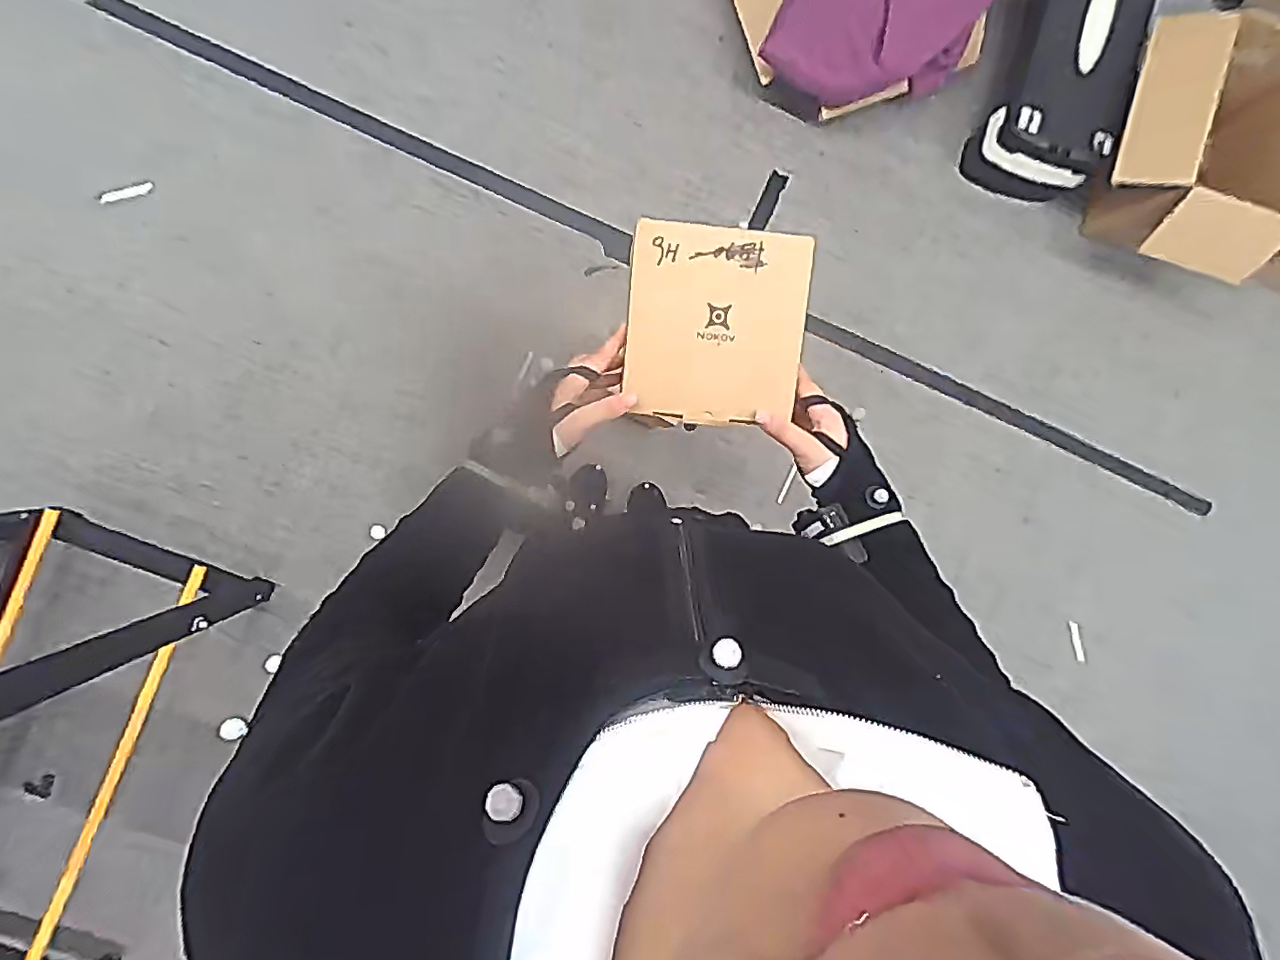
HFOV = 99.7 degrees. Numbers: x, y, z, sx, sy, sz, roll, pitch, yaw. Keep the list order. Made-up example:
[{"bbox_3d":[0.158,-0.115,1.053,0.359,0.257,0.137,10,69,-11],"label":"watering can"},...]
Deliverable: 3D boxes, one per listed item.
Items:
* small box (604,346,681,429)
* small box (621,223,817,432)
[{"bbox_3d":[0.036,-0.216,1.082,0.168,0.176,0.179,27,92,-4],"label":"small box"},{"bbox_3d":[0.069,-0.153,0.578,0.168,0.176,0.179,4,100,-4],"label":"small box"}]
